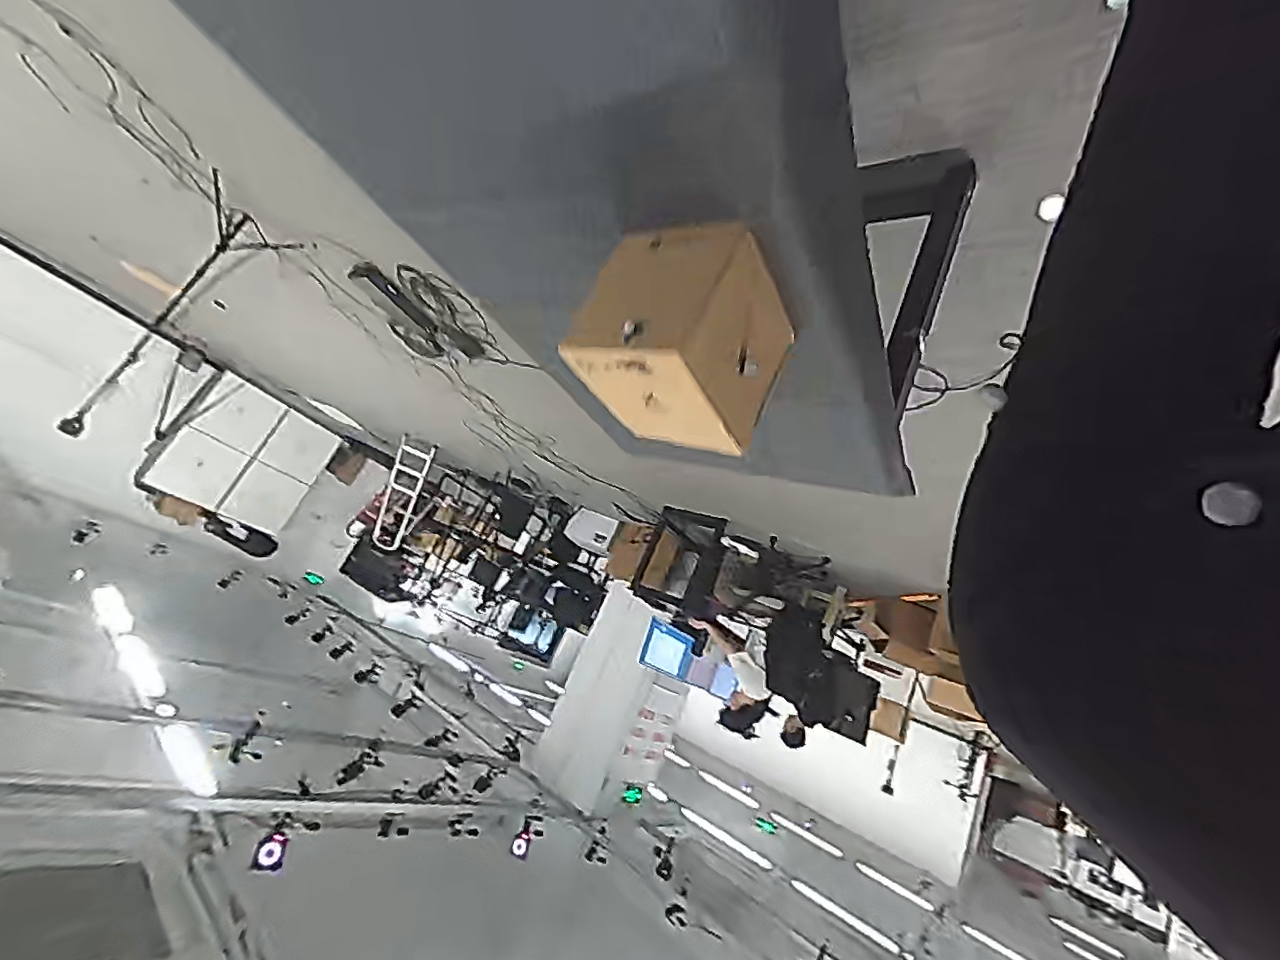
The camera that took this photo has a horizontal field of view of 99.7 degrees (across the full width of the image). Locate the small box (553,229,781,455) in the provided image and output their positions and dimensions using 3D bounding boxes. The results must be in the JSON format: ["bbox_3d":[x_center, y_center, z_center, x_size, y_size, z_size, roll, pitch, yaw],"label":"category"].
[{"bbox_3d":[0.042,-0.154,0.621,0.168,0.176,0.179,14,159,38],"label":"small box"}]
